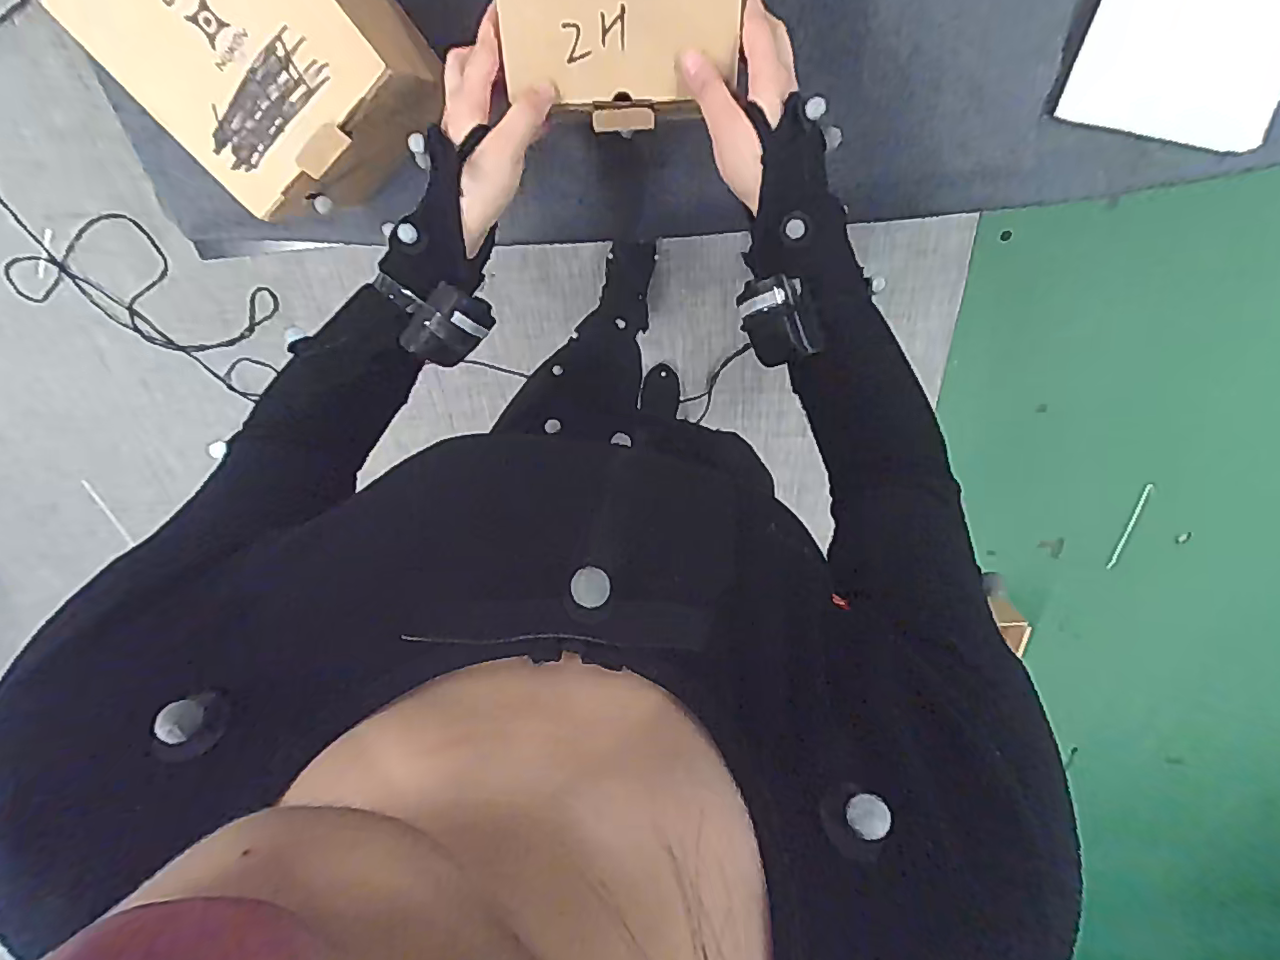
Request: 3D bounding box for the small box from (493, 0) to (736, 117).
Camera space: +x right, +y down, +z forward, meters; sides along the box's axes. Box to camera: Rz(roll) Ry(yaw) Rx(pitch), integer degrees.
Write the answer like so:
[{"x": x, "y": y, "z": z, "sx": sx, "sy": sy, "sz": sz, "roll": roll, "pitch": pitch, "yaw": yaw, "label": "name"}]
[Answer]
[{"x": -0.017, "y": -0.390, "z": 0.412, "sx": 0.168, "sy": 0.176, "sz": 0.179, "roll": -1, "pitch": 121, "yaw": 2, "label": "small box"}]
